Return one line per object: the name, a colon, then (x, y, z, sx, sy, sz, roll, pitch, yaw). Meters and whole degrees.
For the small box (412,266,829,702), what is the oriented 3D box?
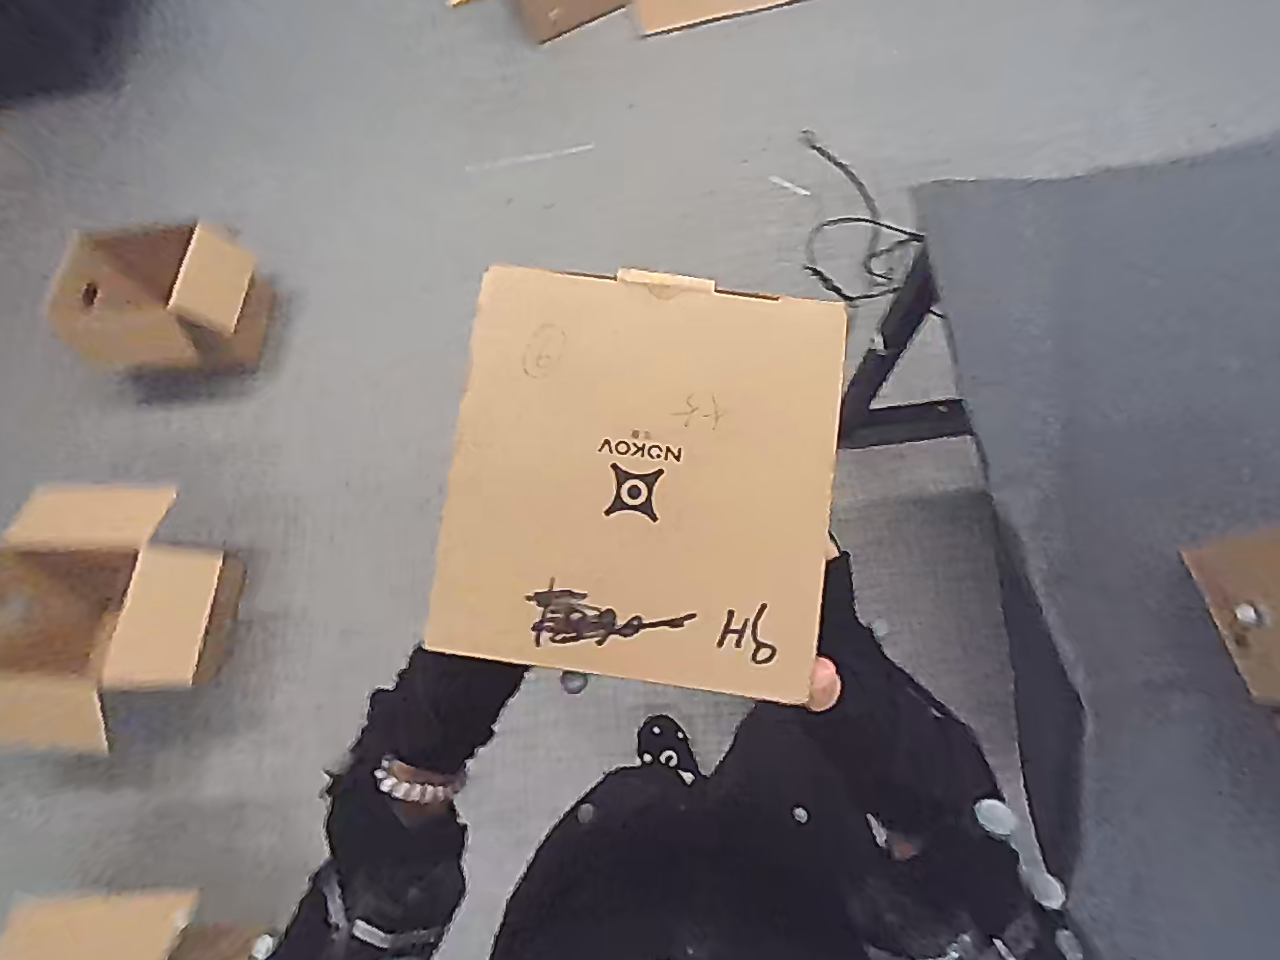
small box: (-0.005, 0.006, 0.314, 0.168, 0.176, 0.179, 7, 84, 2)
